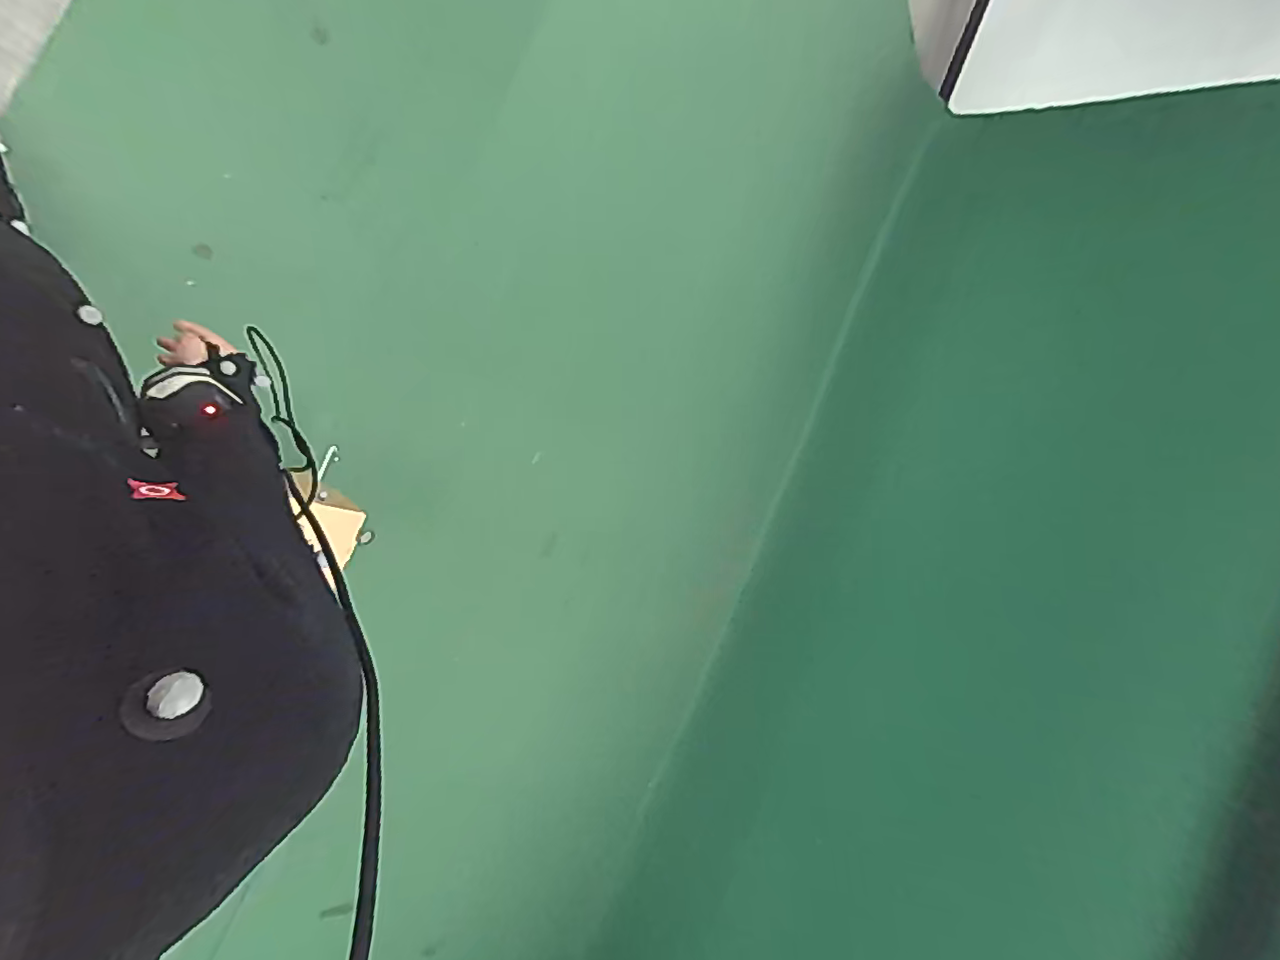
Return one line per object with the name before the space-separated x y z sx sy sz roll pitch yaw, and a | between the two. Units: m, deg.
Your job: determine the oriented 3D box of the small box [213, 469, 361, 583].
small box | -0.701 0.089 1.068 0.179 0.176 0.168 24 87 -53
